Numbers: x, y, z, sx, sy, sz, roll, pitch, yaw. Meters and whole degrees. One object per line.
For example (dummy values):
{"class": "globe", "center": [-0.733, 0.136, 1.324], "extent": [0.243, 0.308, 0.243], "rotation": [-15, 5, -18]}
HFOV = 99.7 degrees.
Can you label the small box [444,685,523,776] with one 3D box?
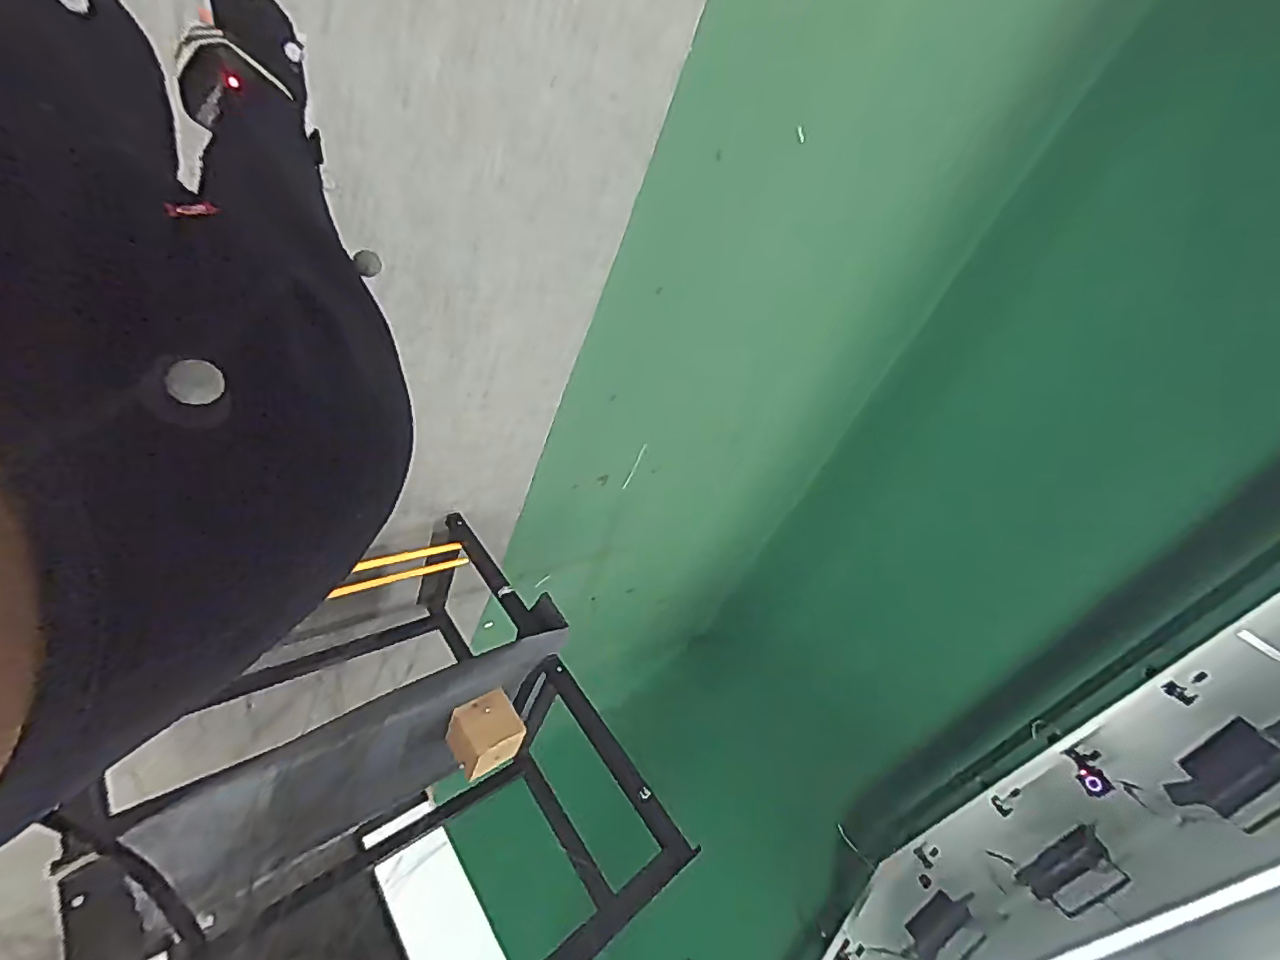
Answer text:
{"class": "small box", "center": [-0.501, 0.787, 1.711], "extent": [0.168, 0.176, 0.179], "rotation": [-14, 139, -44]}
